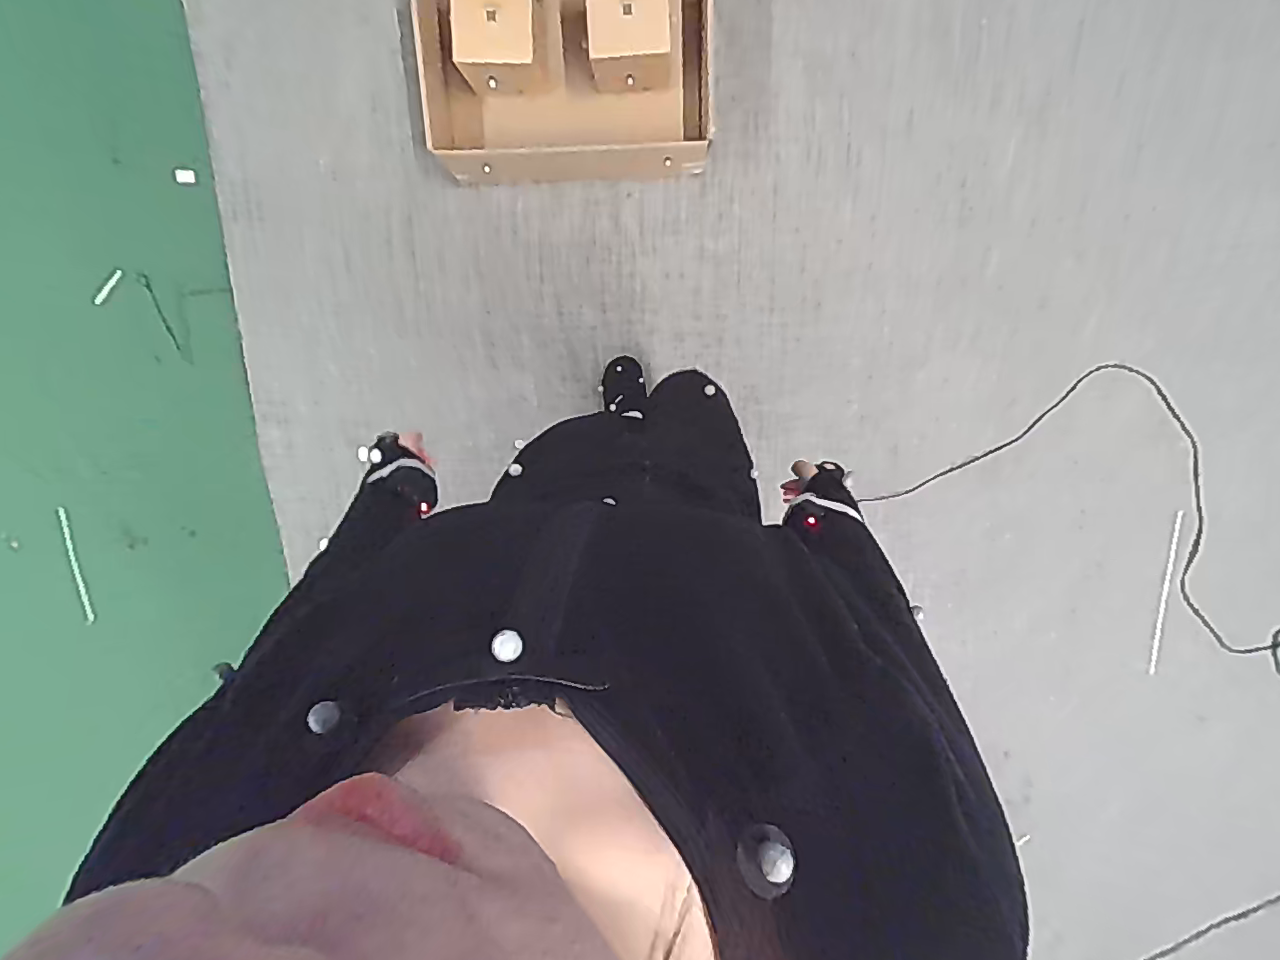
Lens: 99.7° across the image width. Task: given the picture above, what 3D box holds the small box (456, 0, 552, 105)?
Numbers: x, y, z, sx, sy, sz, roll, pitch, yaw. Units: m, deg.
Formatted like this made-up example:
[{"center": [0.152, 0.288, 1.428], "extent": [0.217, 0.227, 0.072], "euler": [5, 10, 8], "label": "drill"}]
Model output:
[{"center": [-0.286, -0.941, 1.167], "extent": [0.168, 0.176, 0.179], "euler": [3, 103, 1], "label": "small box"}]

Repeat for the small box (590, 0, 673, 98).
[{"center": [-0.012, -0.942, 1.152], "extent": [0.168, 0.176, 0.179], "euler": [-1, 103, 3], "label": "small box"}]
